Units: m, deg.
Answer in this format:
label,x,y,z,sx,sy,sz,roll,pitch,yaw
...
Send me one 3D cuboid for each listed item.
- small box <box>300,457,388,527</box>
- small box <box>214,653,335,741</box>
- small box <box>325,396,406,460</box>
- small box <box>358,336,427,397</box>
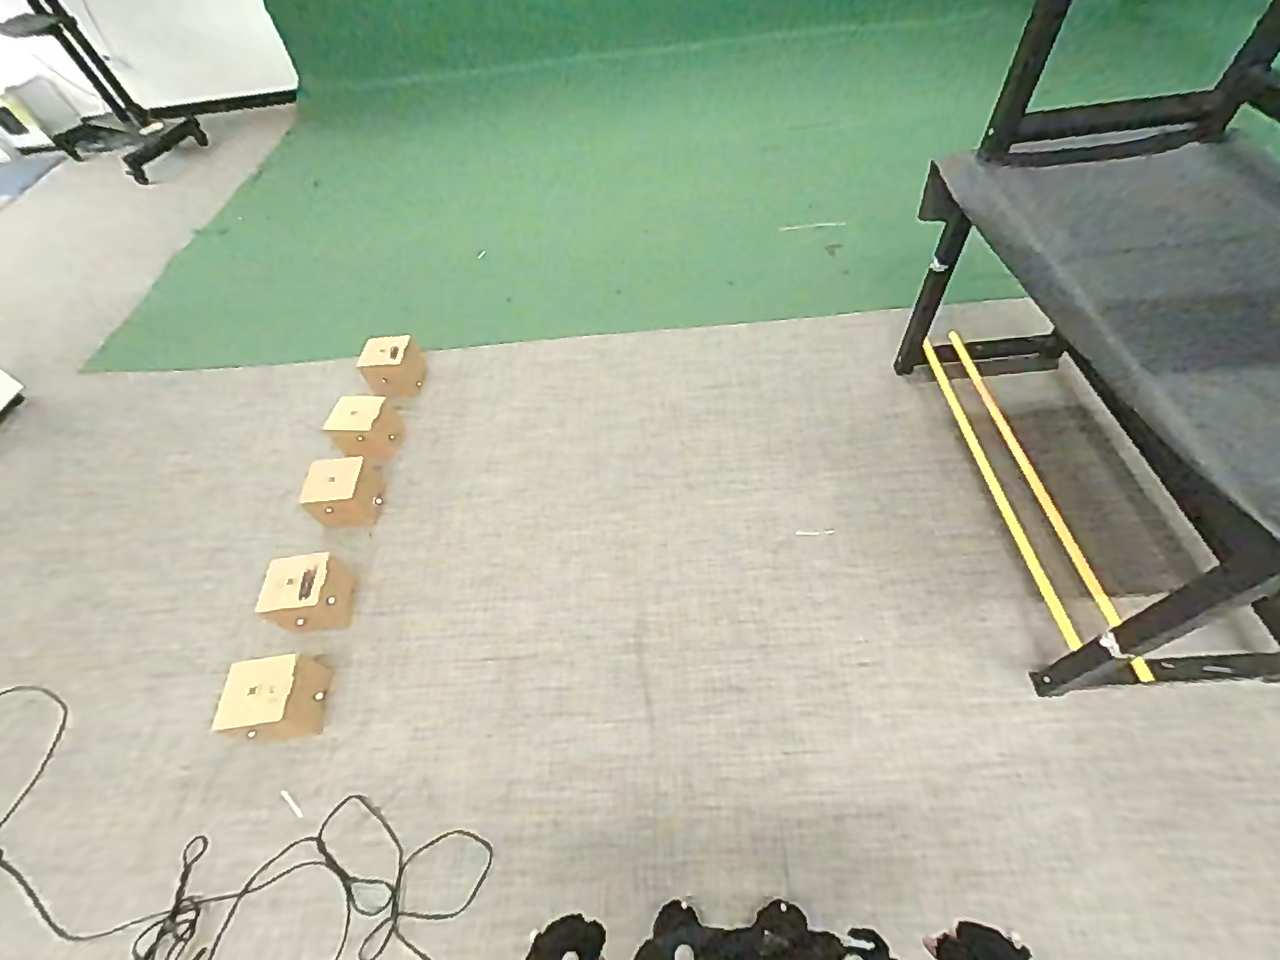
label,x,y,z,sx,sy,sz,roll,pitch,yaw
small box,-0.969,0.044,1.786,0.179,0.176,0.168,-5,56,1
small box,-0.939,0.567,1.406,0.179,0.176,0.168,-9,55,0
small box,-0.985,-0.186,1.954,0.179,0.176,0.168,2,54,7
small box,-0.969,-0.446,2.139,0.179,0.176,0.168,-3,54,5
